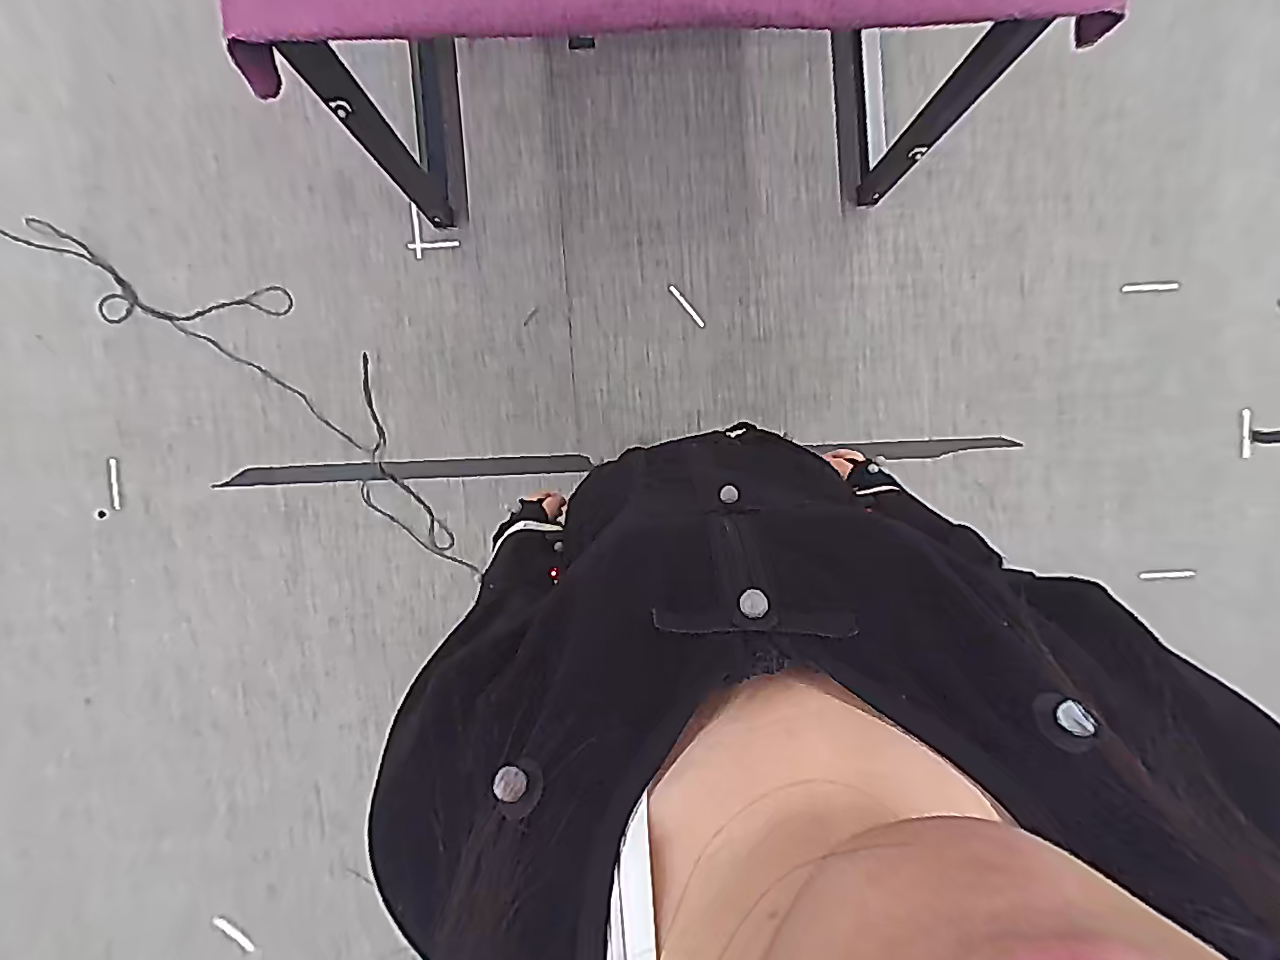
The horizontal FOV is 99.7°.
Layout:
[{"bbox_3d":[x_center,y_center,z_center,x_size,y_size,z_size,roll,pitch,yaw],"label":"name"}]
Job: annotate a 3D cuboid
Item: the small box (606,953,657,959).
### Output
[{"bbox_3d":[-0.019,1.429,1.445,0.168,0.176,0.179,-9,94,-1],"label":"small box"}]
